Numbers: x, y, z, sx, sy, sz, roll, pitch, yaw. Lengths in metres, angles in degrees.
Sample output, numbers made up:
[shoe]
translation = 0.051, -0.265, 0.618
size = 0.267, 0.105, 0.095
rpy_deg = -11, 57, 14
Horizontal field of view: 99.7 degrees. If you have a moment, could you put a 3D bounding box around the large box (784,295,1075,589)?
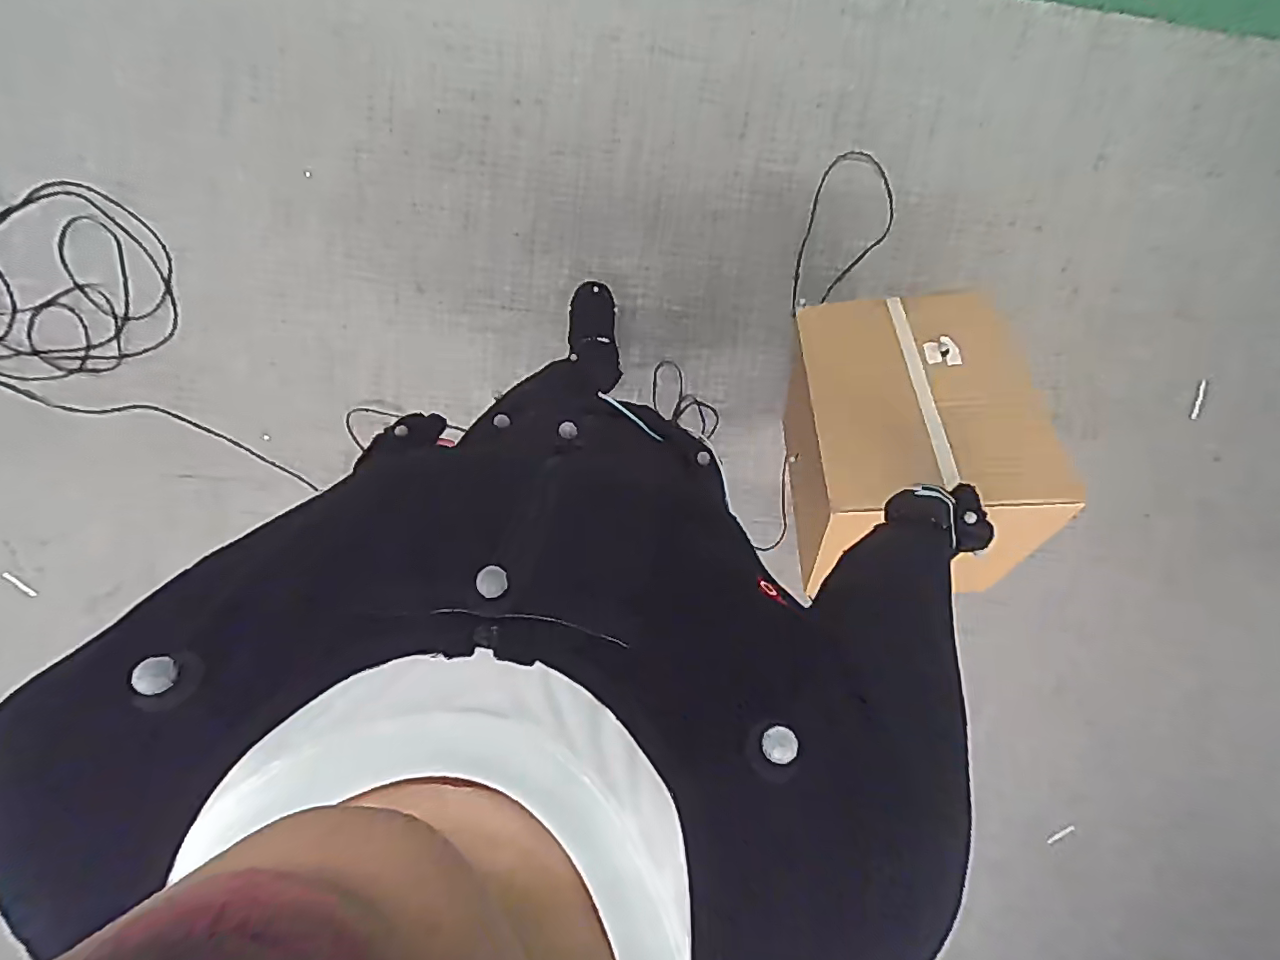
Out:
[large box]
translation = 0.438, -0.056, 0.943
size = 0.320, 0.408, 0.320
rpy_deg = -2, 147, 7
